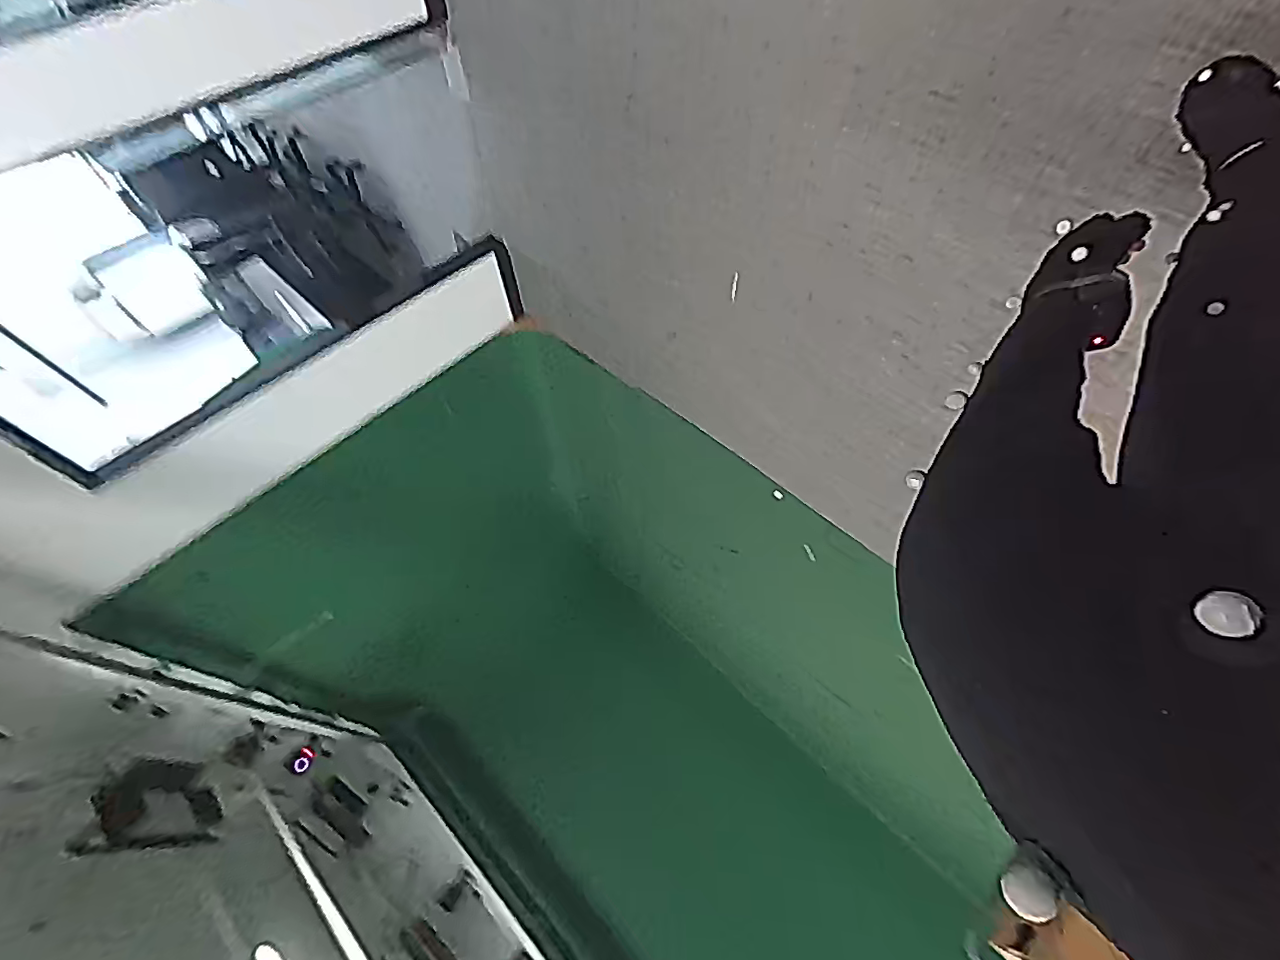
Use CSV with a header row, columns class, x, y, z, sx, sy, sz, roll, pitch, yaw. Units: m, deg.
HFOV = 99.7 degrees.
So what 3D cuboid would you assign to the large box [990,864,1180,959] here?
class,x,y,z,sx,sy,sz,roll,pitch,yaw
large box,1.531,1.624,1.847,0.408,0.320,0.320,39,159,16
